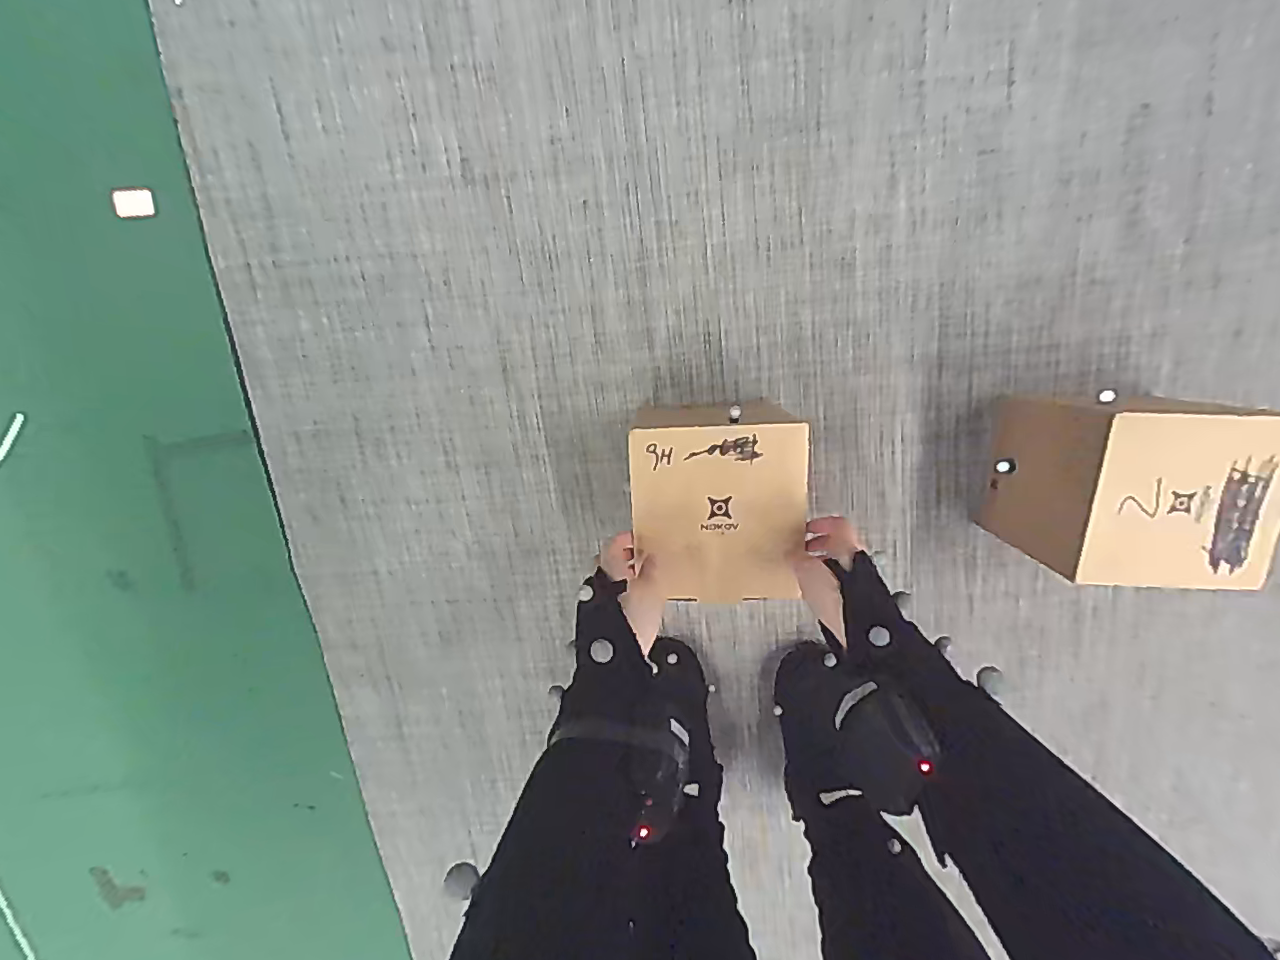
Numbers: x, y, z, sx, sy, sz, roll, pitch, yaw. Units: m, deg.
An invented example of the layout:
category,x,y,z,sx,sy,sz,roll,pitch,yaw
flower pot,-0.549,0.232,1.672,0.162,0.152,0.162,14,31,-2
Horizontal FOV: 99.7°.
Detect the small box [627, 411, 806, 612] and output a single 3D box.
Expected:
category,x,y,z,sx,sy,sz,roll,pitch,yaw
small box,0.076,0.025,0.592,0.168,0.176,0.179,-2,105,3
